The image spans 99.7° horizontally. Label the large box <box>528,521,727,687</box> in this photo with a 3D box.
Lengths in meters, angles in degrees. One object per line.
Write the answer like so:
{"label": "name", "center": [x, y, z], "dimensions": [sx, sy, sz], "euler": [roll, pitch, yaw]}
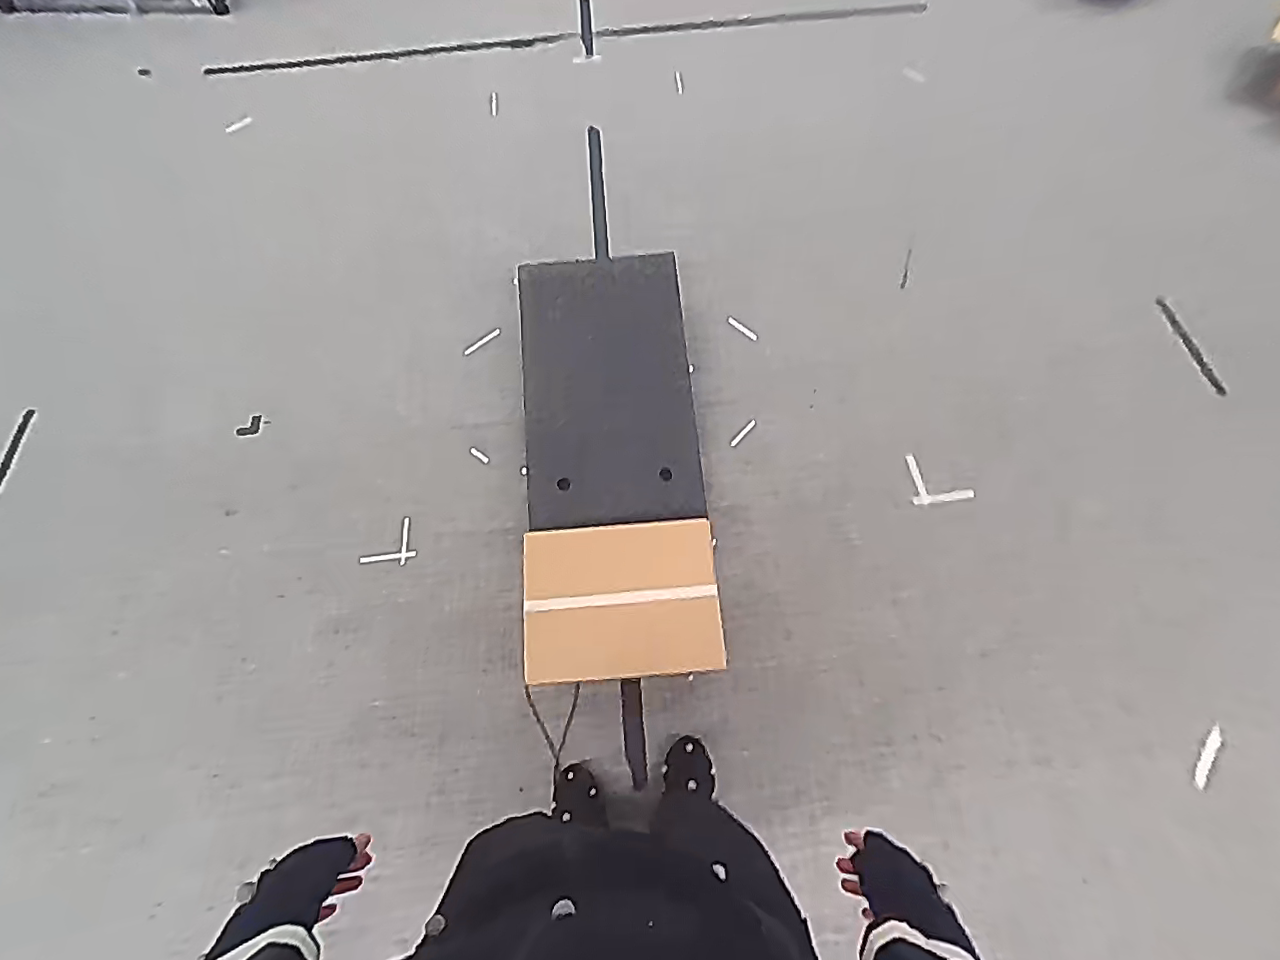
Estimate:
{"label": "large box", "center": [-0.030, 0.302, 1.272], "dimensions": [0.408, 0.320, 0.320], "euler": [-5, 69, 0]}

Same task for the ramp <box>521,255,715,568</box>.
{"label": "ramp", "center": [-0.082, -0.202, 1.574], "dimensions": [0.509, 0.206, 0.991], "euler": [-6, 66, -2]}
